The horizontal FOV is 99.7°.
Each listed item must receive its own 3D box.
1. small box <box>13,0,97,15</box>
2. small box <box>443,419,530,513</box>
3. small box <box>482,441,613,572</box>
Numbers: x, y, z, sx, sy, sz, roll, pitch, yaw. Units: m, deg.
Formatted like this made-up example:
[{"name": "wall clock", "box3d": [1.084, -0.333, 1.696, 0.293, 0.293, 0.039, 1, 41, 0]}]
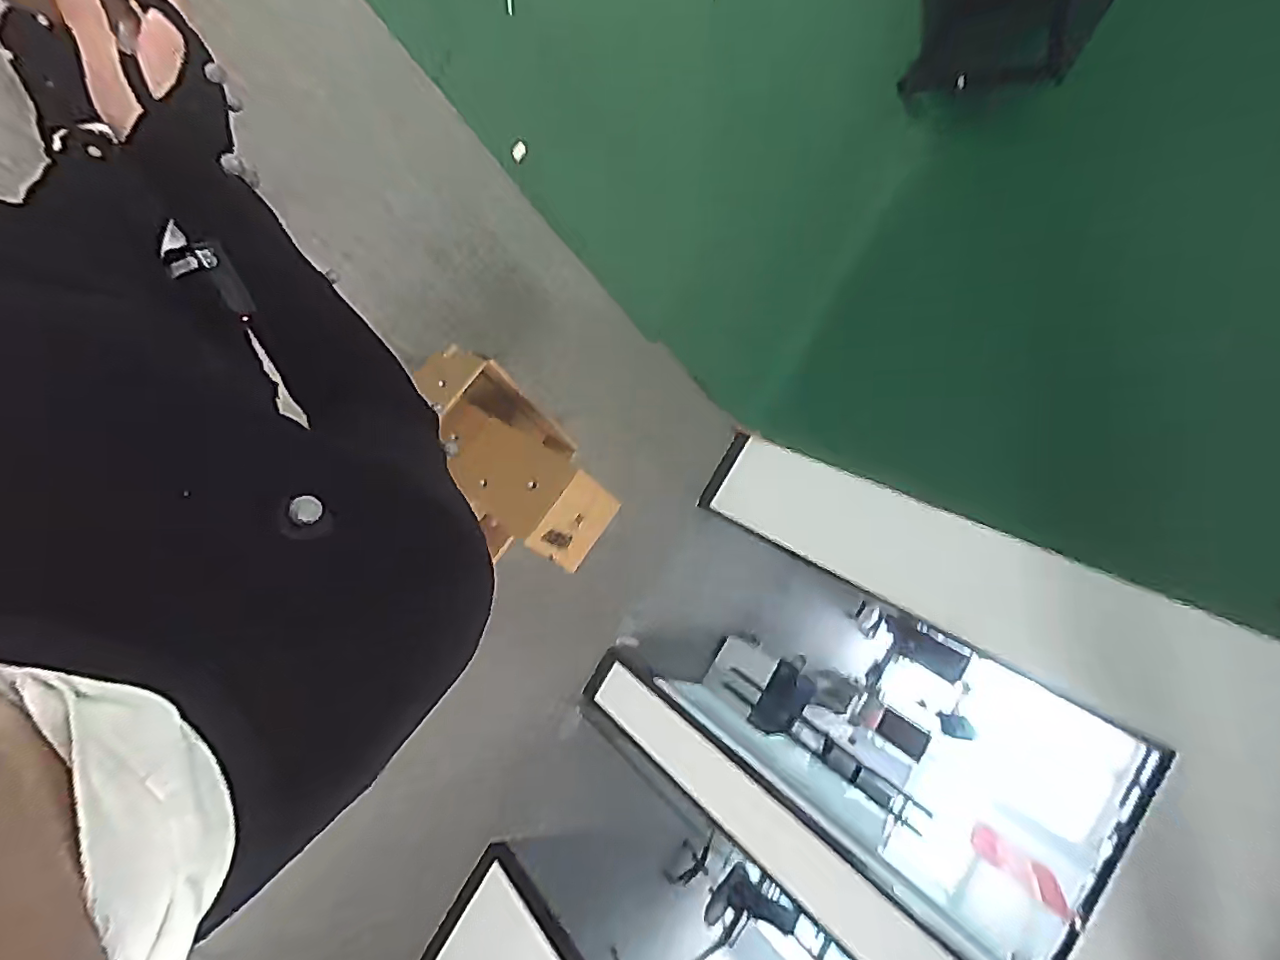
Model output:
[{"name": "small box", "box3d": [-0.468, -0.442, 0.344, 0.179, 0.176, 0.168, -5, 112, -45]}, {"name": "small box", "box3d": [-0.303, -0.010, 1.211, 0.179, 0.176, 0.168, -51, 140, -9]}, {"name": "small box", "box3d": [-0.195, 0.051, 1.103, 0.179, 0.176, 0.168, -53, 140, -8]}]
